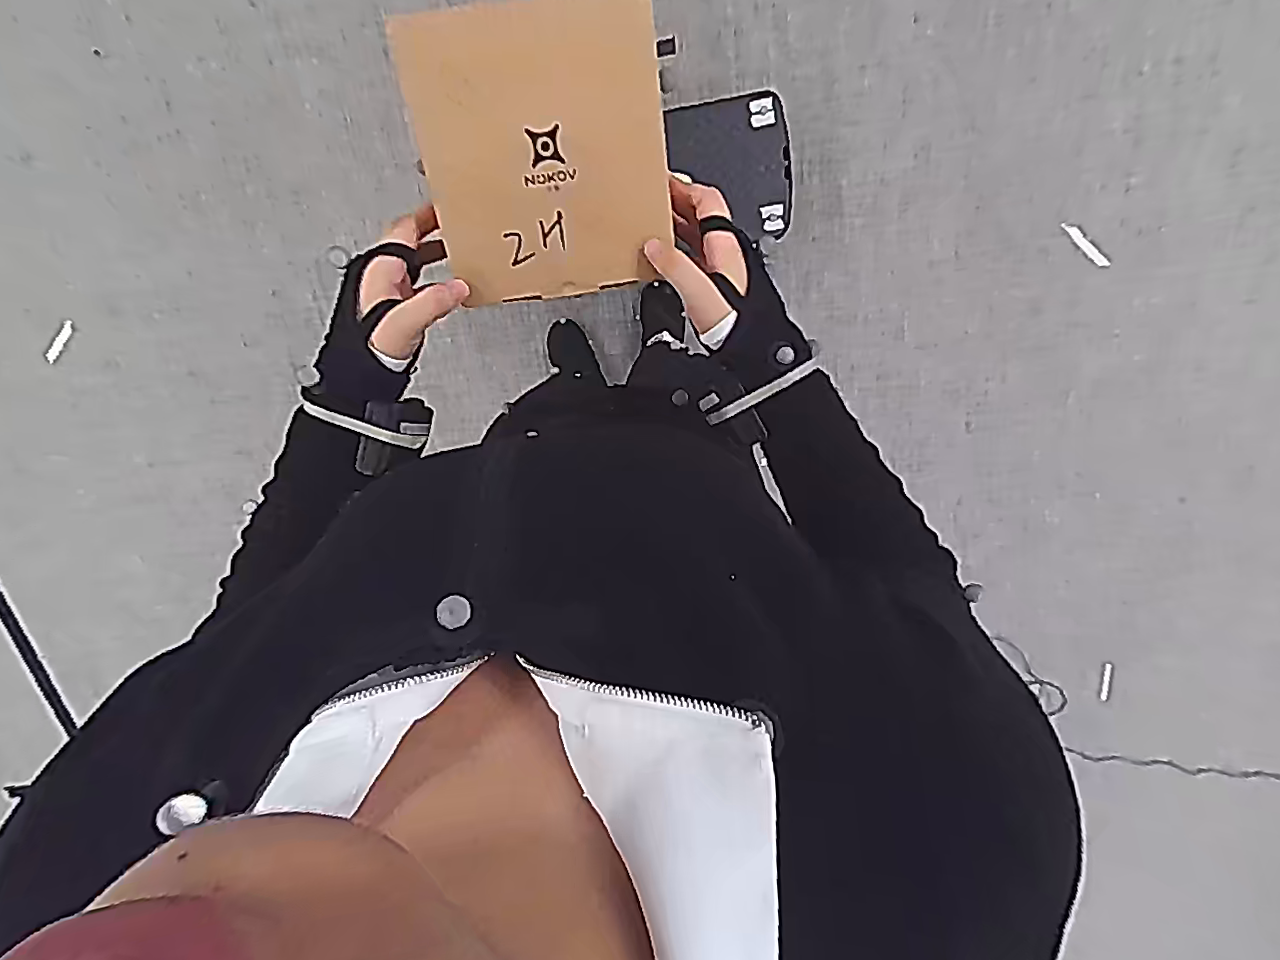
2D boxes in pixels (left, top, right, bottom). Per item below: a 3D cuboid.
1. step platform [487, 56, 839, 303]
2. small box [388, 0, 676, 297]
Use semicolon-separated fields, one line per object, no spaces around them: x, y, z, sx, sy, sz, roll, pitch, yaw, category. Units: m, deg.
-0.003;-0.533;1.016;0.684;0.204;0.286;-9;107;2;step platform
-0.070;-0.256;0.434;0.168;0.176;0.179;-8;117;0;small box
